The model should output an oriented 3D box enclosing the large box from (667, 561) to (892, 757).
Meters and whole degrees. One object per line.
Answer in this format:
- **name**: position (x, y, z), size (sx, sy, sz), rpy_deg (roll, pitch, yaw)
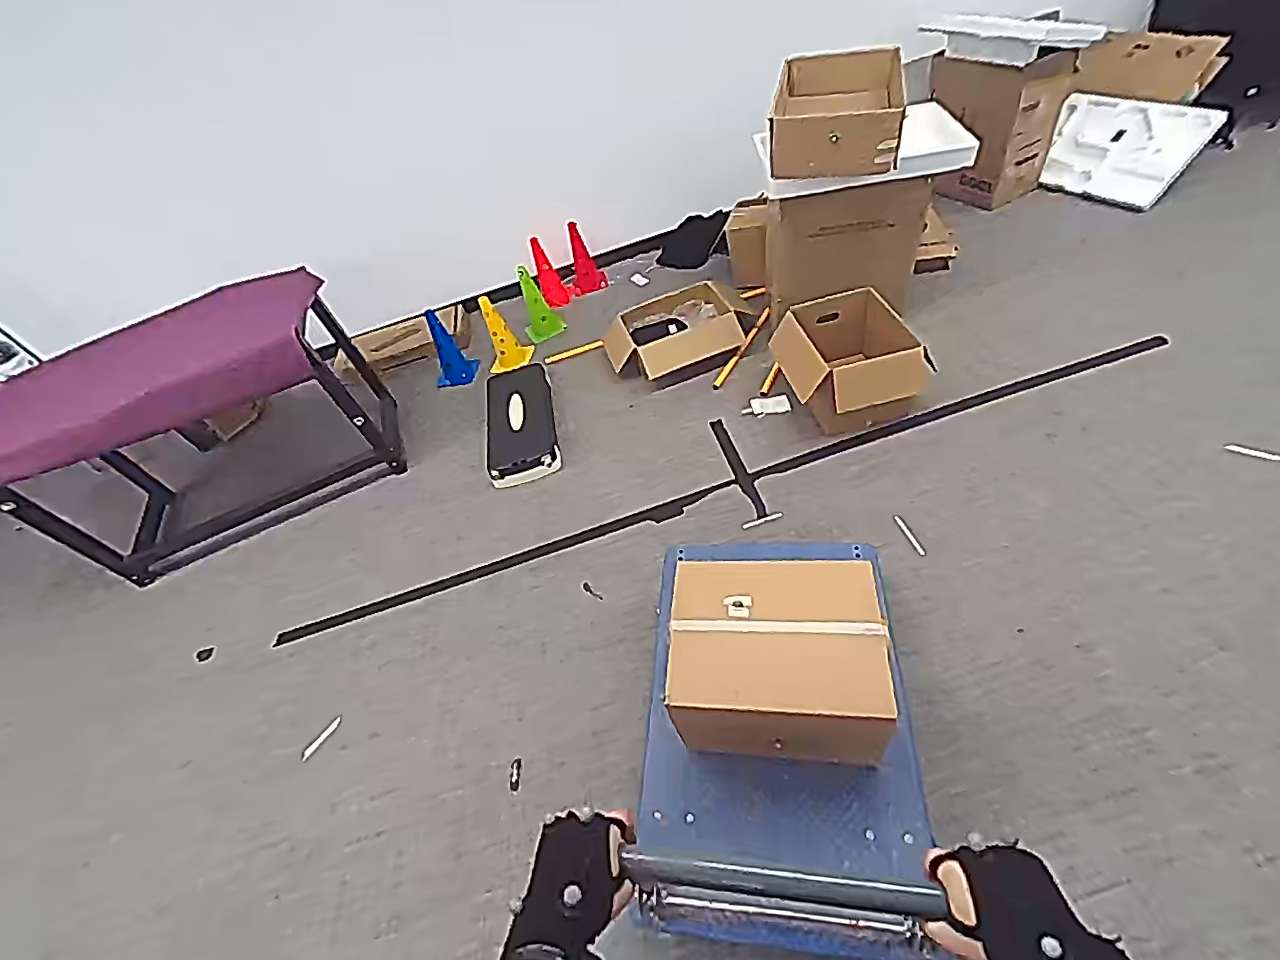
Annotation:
- **large box**: position (0.292, 0.394, 1.177), size (0.408, 0.320, 0.320), rpy_deg (-4, 48, 14)
